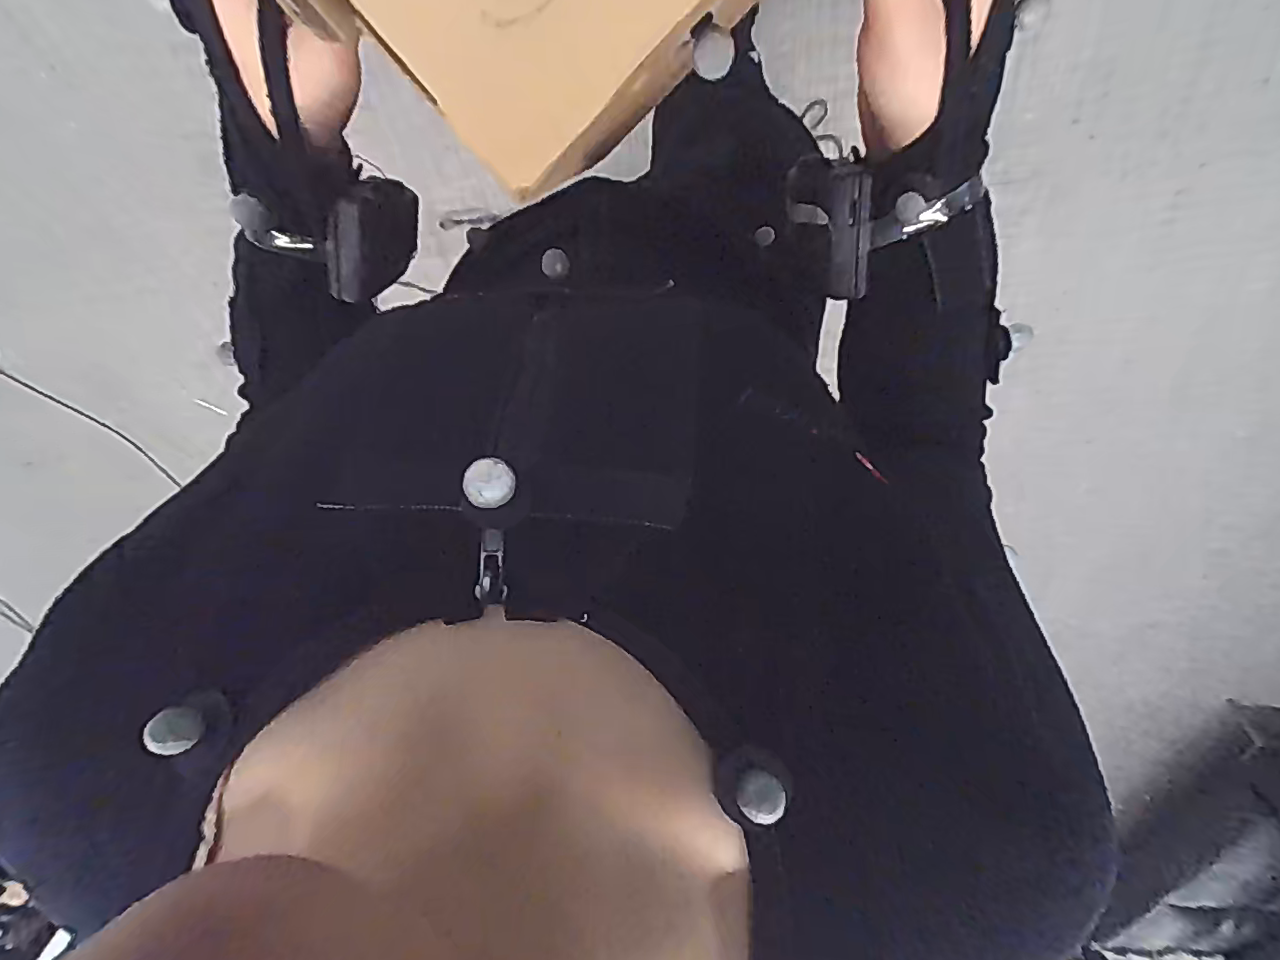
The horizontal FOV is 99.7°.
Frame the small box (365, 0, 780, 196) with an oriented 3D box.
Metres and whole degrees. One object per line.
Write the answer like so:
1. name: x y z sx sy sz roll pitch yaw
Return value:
1. small box: -0.012 -0.230 0.178 0.179 0.176 0.168 -34 114 24
